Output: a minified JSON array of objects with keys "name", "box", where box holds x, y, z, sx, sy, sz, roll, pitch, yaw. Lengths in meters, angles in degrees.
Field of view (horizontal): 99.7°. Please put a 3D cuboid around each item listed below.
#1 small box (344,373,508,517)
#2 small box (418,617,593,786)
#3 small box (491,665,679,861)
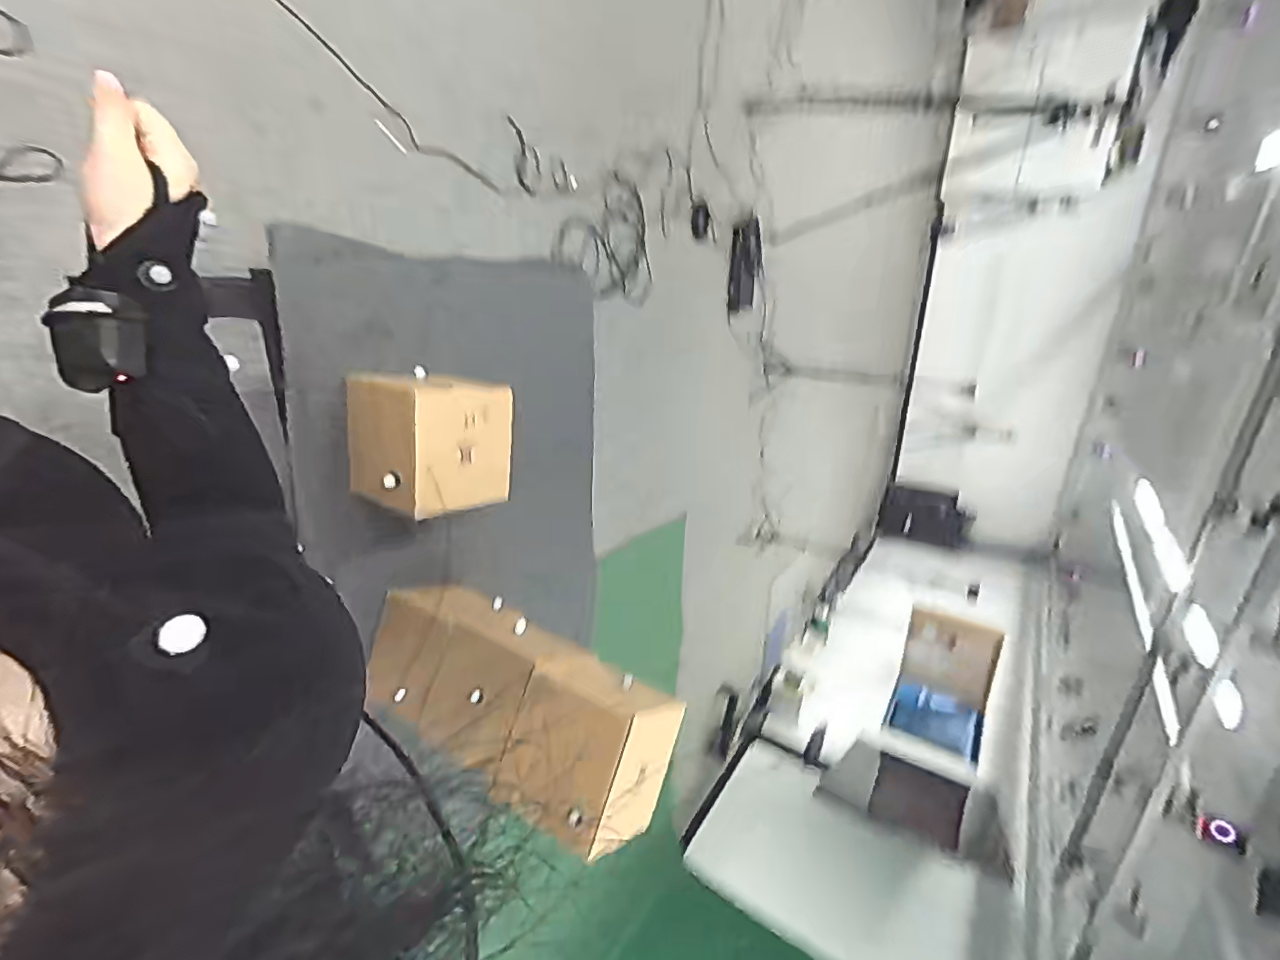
[{"name":"small box","box":[-0.319,-0.061,0.808,0.168,0.176,0.179,-14,113,-54]},{"name":"small box","box":[-0.207,0.327,0.826,0.168,0.176,0.179,32,74,-58]},{"name":"small box","box":[-0.074,0.364,0.740,0.168,0.176,0.179,31,76,-58]}]
